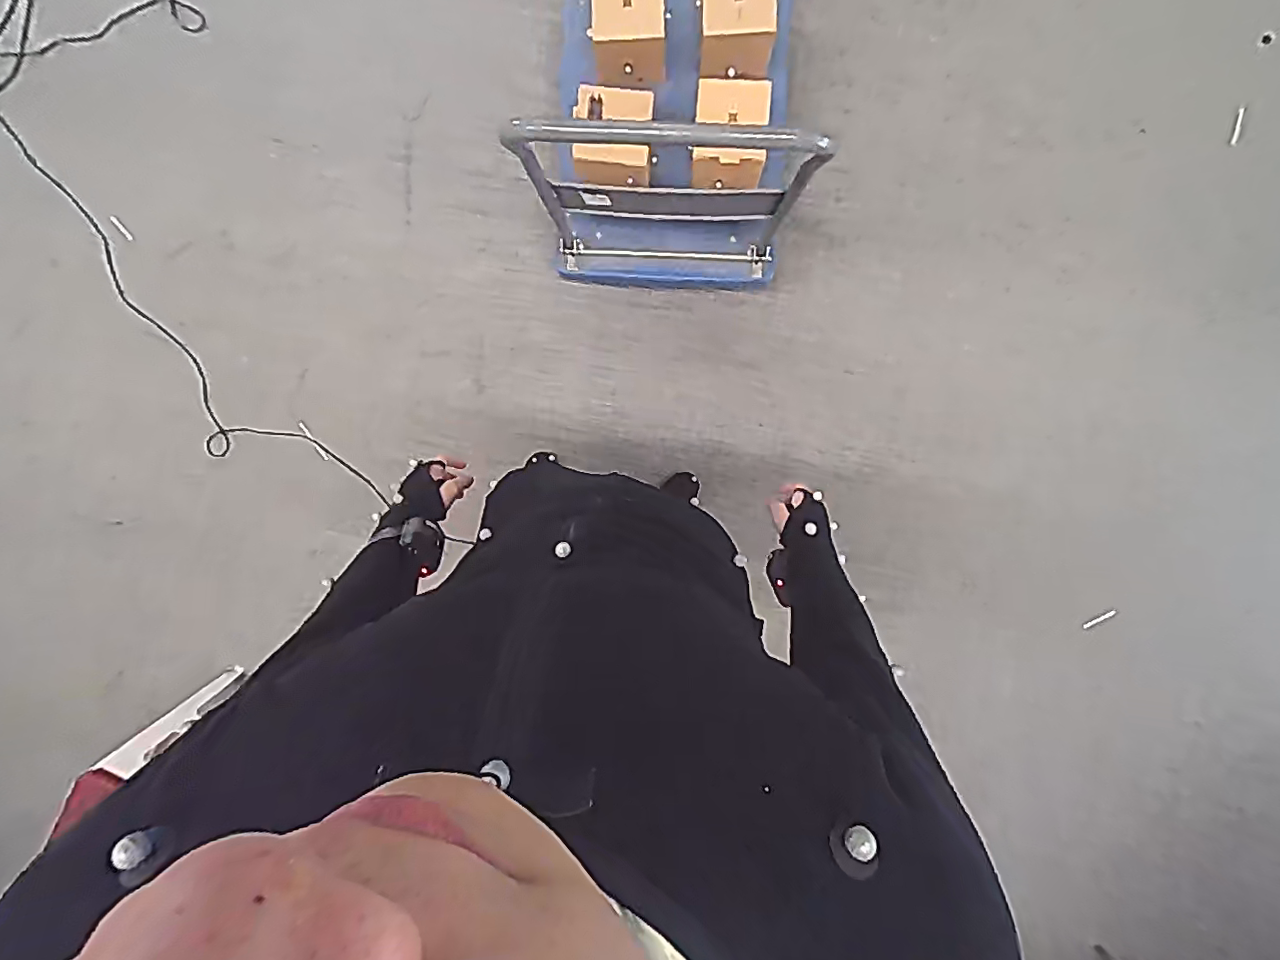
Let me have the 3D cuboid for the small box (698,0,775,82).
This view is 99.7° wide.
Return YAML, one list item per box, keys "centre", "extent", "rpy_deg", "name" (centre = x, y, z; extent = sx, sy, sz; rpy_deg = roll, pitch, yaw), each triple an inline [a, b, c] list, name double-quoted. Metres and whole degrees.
- centre: [0.226, -1.100, 1.298]
  extent: [0.168, 0.176, 0.179]
  rpy_deg: [0, 95, 4]
  name: "small box"

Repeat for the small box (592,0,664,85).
- centre: [-0.025, -1.096, 1.312]
  extent: [0.168, 0.176, 0.179]
  rpy_deg: [-1, 94, 2]
  name: "small box"

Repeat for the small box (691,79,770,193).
- centre: [0.214, -0.831, 1.318]
  extent: [0.168, 0.176, 0.179]
  rpy_deg: [4, 94, 3]
  name: "small box"
